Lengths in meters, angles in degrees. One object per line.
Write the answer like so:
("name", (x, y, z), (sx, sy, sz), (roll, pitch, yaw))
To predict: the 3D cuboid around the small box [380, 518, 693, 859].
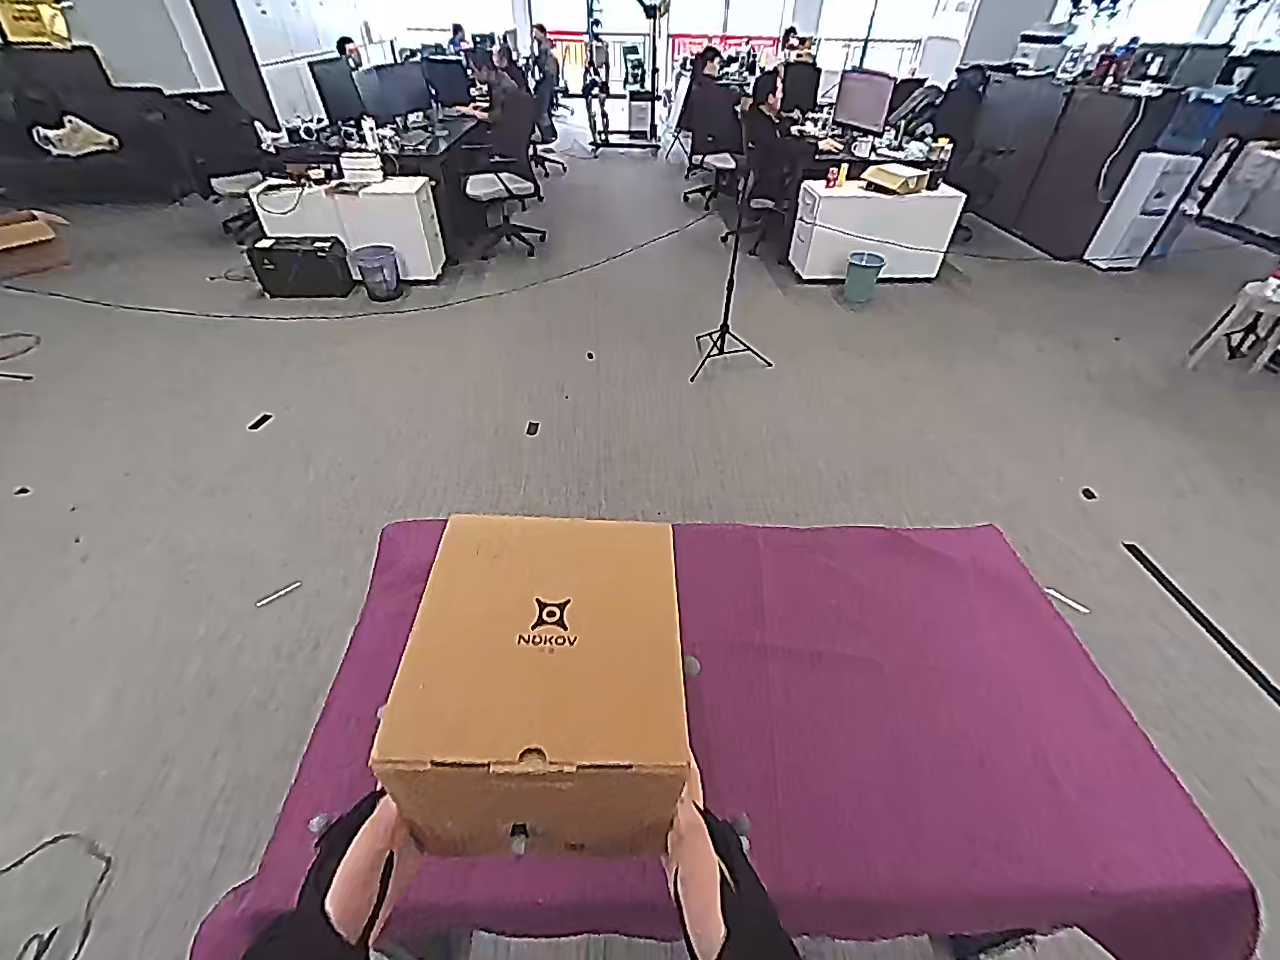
("small box", (-0.060, 0.150, 0.394), (0.168, 0.176, 0.179), (3, 44, -4))
